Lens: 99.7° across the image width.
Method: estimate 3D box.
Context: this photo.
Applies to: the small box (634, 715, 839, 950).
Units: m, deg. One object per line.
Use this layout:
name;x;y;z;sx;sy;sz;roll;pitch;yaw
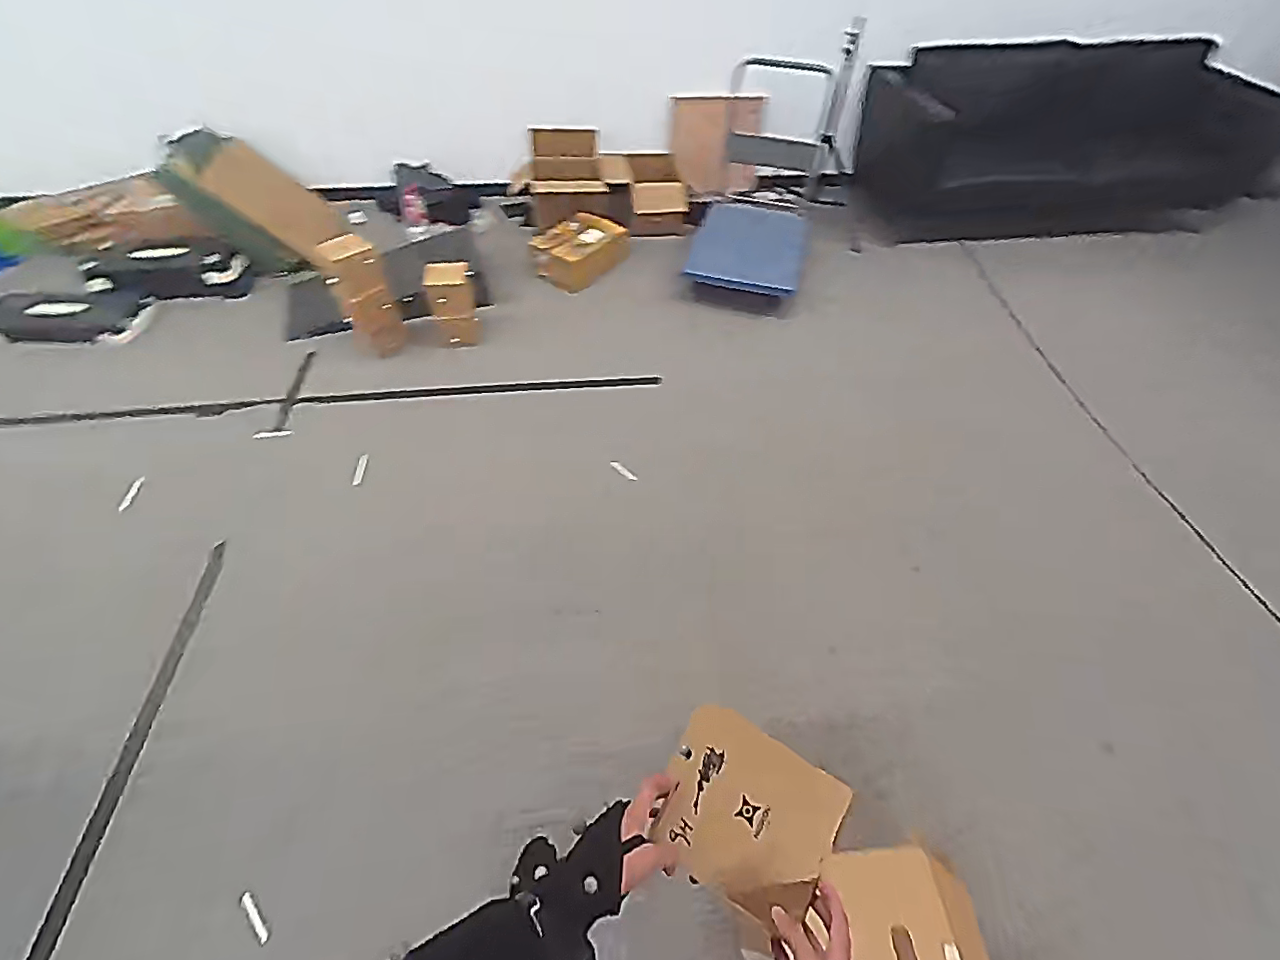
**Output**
small box;0.108;0.414;0.674;0.179;0.176;0.168;31;67;10
